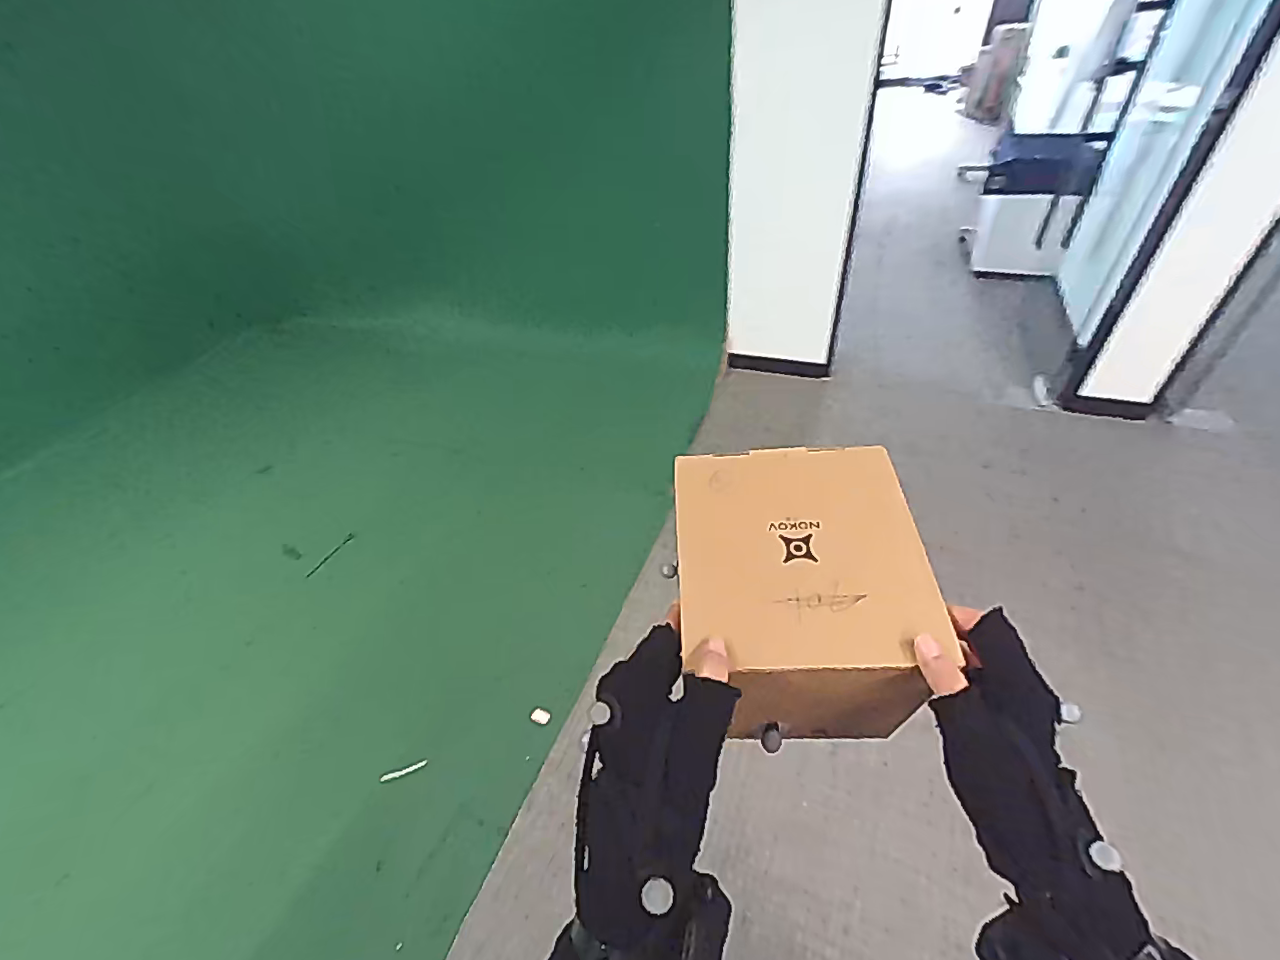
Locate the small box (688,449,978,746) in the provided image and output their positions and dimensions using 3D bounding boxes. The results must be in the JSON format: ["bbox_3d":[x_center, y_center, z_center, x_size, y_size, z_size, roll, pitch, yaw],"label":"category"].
[{"bbox_3d":[0.122,0.095,0.430,0.168,0.176,0.179,-2,52,5],"label":"small box"}]
